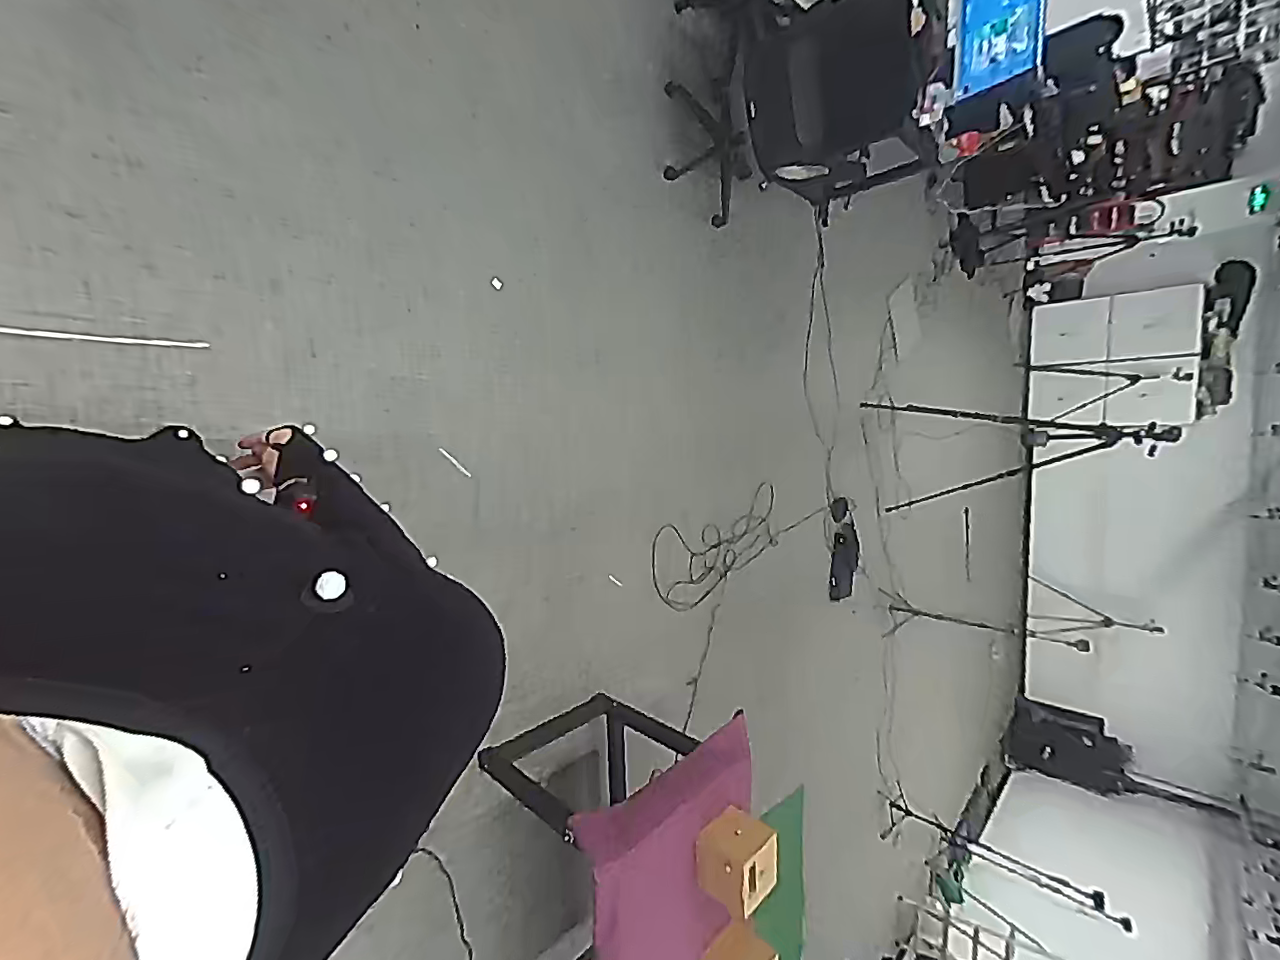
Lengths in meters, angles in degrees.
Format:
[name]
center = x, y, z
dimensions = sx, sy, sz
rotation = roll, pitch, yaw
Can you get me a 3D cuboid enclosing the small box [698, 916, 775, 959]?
[small box]
center = 0.292, 1.499, 1.649
dimensions = 0.179, 0.176, 0.168
rotation = -7, 98, -44
